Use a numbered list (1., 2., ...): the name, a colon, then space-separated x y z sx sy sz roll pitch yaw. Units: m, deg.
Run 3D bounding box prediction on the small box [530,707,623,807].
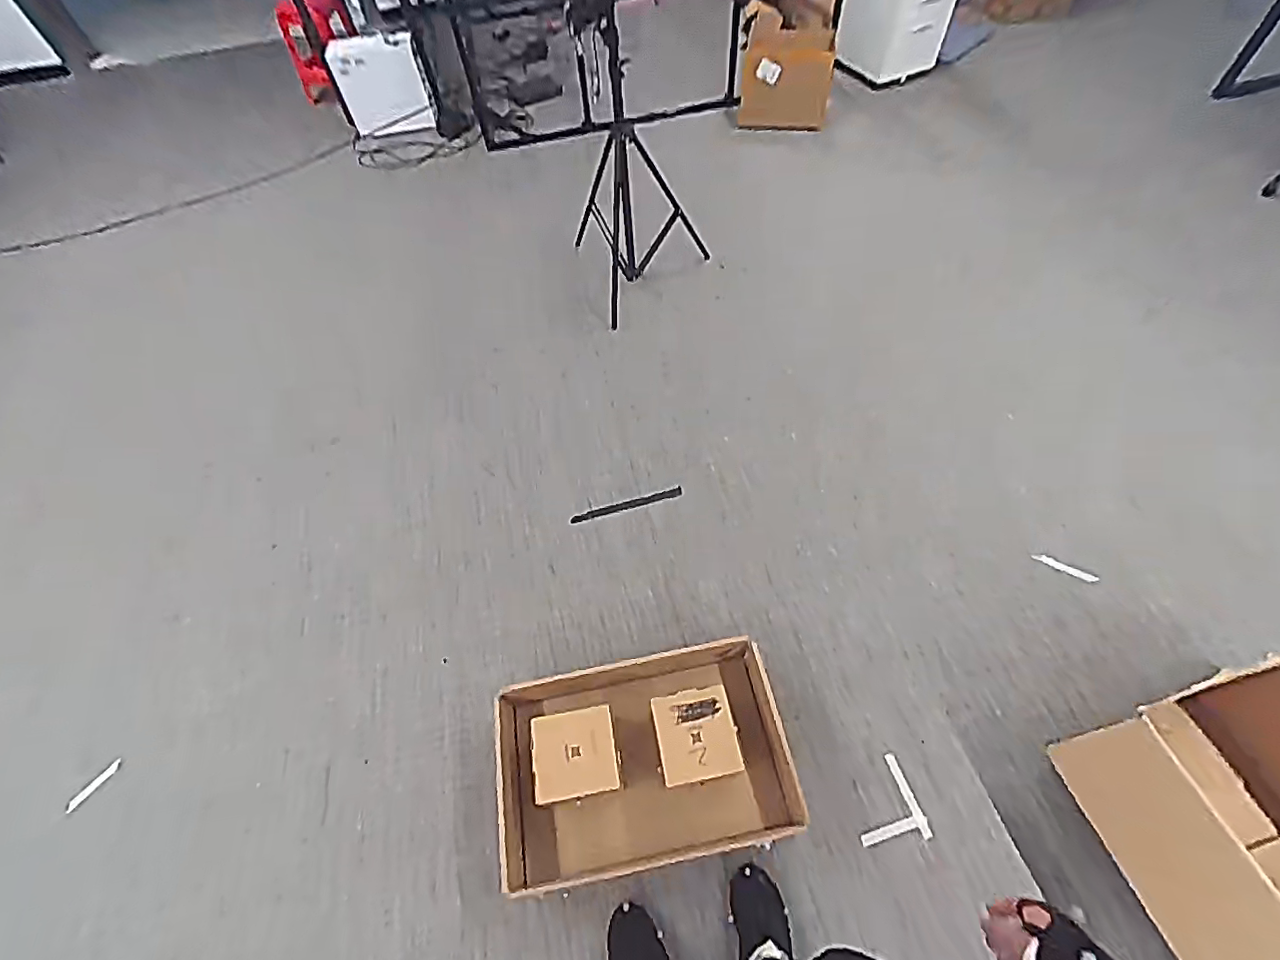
1. small box: -0.140 0.624 1.213 0.179 0.176 0.168 -10 59 -4
